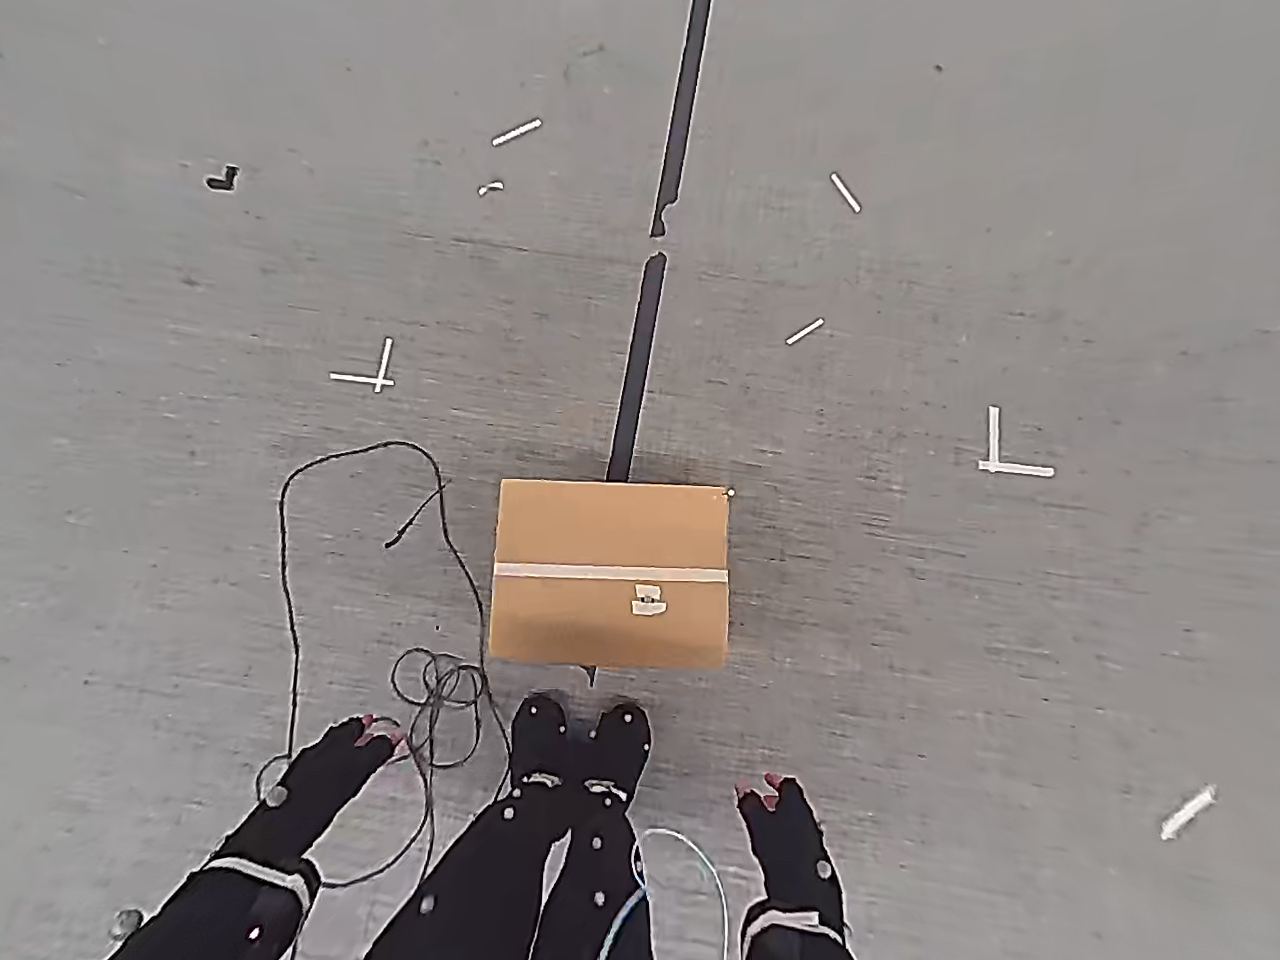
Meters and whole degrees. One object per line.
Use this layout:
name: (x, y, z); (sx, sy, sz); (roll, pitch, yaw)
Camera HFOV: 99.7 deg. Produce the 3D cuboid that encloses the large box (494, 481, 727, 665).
large box: (-0.051, 0.186, 1.086); (0.408, 0.320, 0.320); (2, 80, -1)
